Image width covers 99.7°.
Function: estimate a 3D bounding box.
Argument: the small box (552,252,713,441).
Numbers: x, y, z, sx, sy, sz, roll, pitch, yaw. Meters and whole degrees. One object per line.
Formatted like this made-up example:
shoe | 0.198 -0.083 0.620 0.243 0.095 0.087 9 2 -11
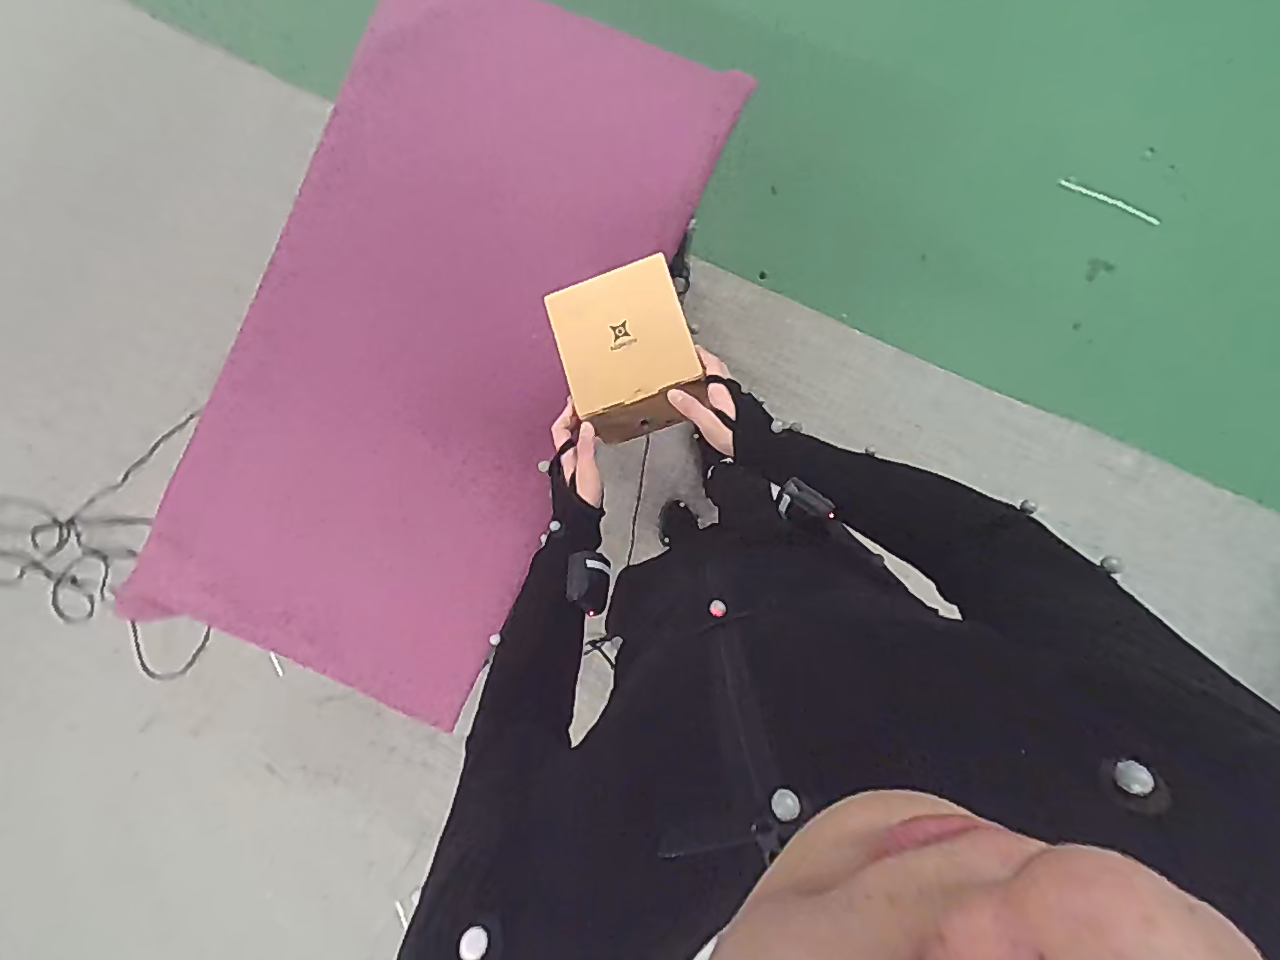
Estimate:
small box | -0.002 -0.171 0.744 0.168 0.176 0.179 -18 81 6
